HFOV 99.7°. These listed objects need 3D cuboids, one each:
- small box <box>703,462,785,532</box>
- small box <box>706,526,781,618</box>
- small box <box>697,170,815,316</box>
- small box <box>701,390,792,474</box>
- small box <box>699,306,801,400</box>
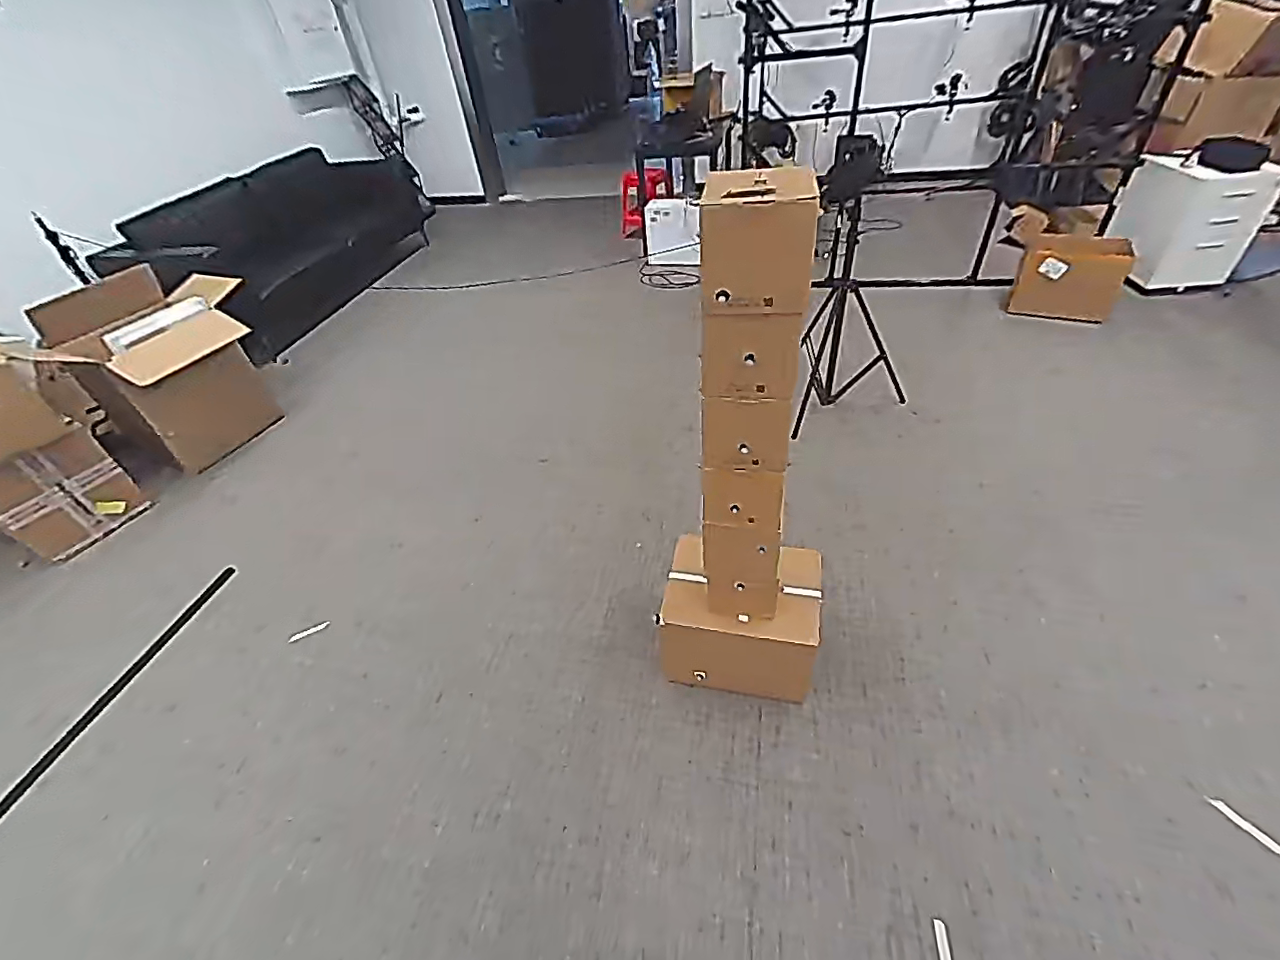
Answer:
[{"bbox_3d":[0.230,-0.010,1.194,0.168,0.176,0.179,4,44,12],"label":"small box"},{"bbox_3d":[0.268,0.240,1.400,0.179,0.176,0.168,4,44,11],"label":"small box"},{"bbox_3d":[0.184,-0.373,0.863,0.168,0.176,0.179,2,43,11],"label":"small box"},{"bbox_3d":[0.214,-0.134,1.087,0.168,0.176,0.179,2,44,12],"label":"small box"},{"bbox_3d":[0.199,-0.259,0.982,0.168,0.176,0.179,3,44,11],"label":"small box"}]
